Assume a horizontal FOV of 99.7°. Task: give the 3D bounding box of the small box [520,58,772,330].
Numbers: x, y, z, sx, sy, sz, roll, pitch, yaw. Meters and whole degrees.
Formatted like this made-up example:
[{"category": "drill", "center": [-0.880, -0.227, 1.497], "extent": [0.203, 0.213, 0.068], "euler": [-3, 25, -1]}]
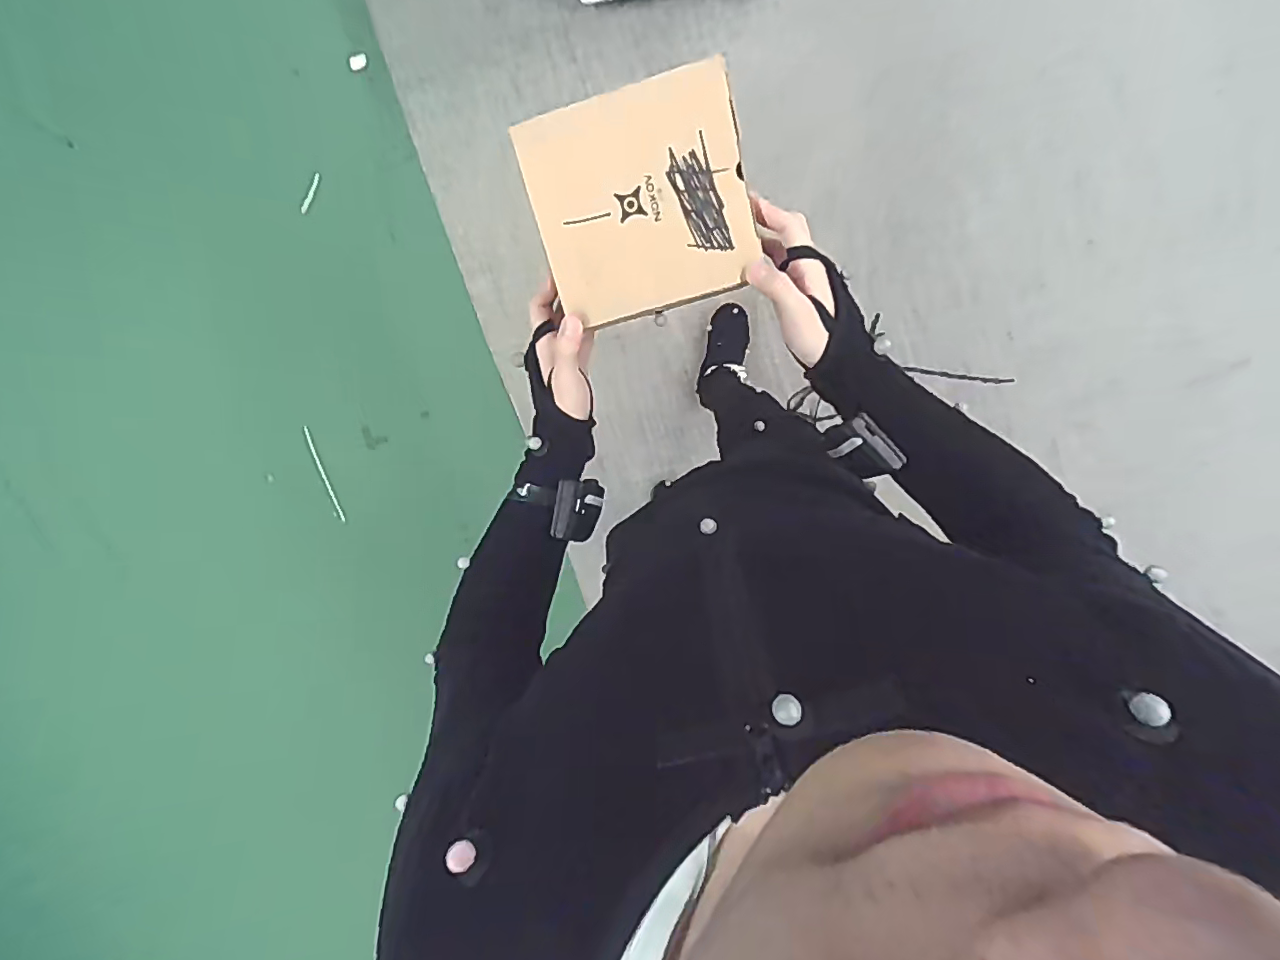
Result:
[{"category": "small box", "center": [0.010, -0.247, 0.514], "extent": [0.179, 0.176, 0.168], "euler": [-14, 104, 7]}]
